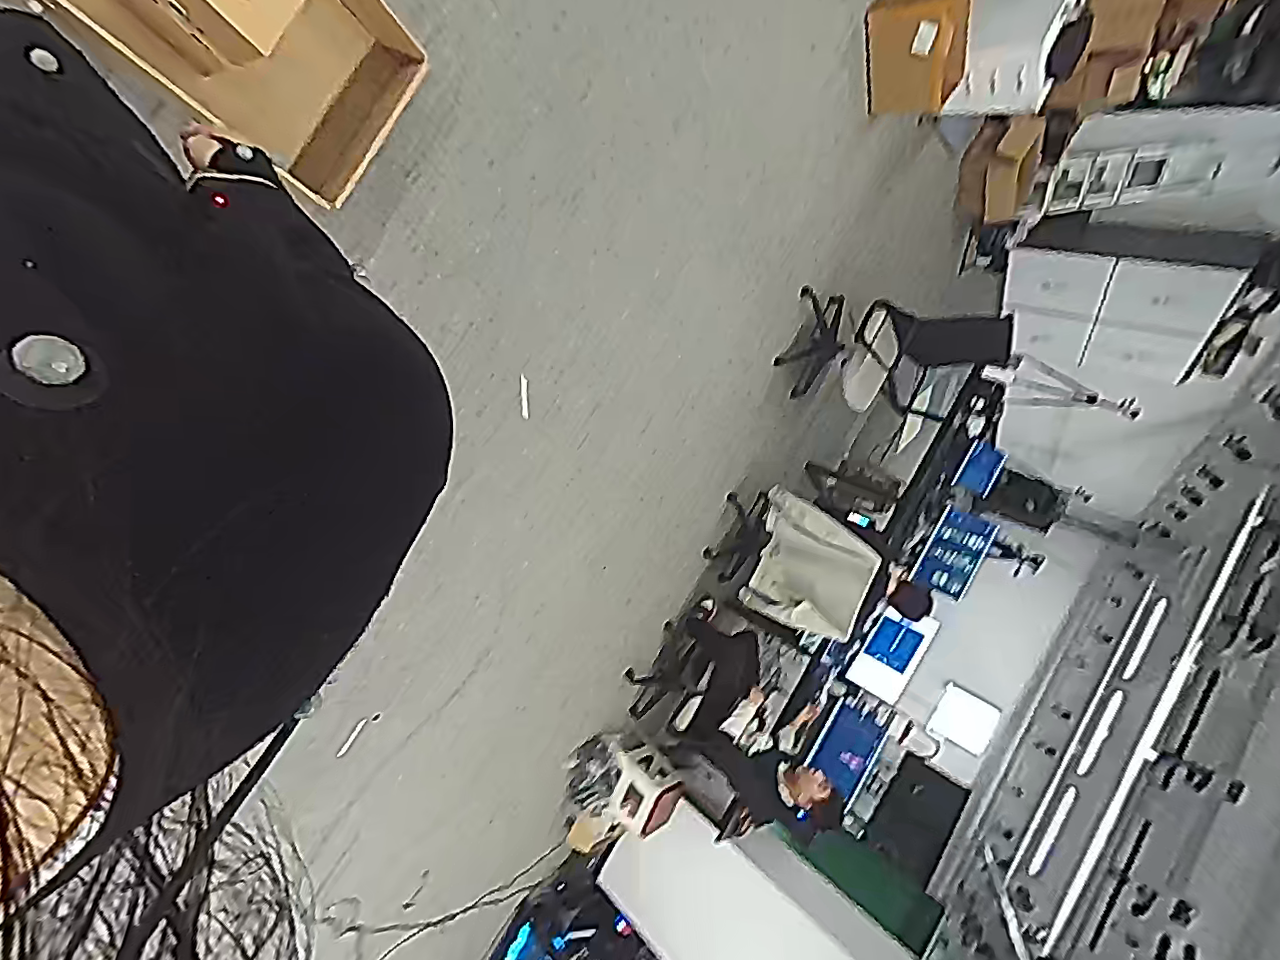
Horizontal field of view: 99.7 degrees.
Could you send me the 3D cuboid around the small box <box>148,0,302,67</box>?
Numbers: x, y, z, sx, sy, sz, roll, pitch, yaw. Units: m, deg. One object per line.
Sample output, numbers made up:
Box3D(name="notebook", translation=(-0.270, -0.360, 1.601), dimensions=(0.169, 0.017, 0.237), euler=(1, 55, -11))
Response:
Box3D(name="small box", translation=(-0.636, -0.771, 0.813), dimensions=(0.168, 0.176, 0.179), euler=(34, 83, -53))
